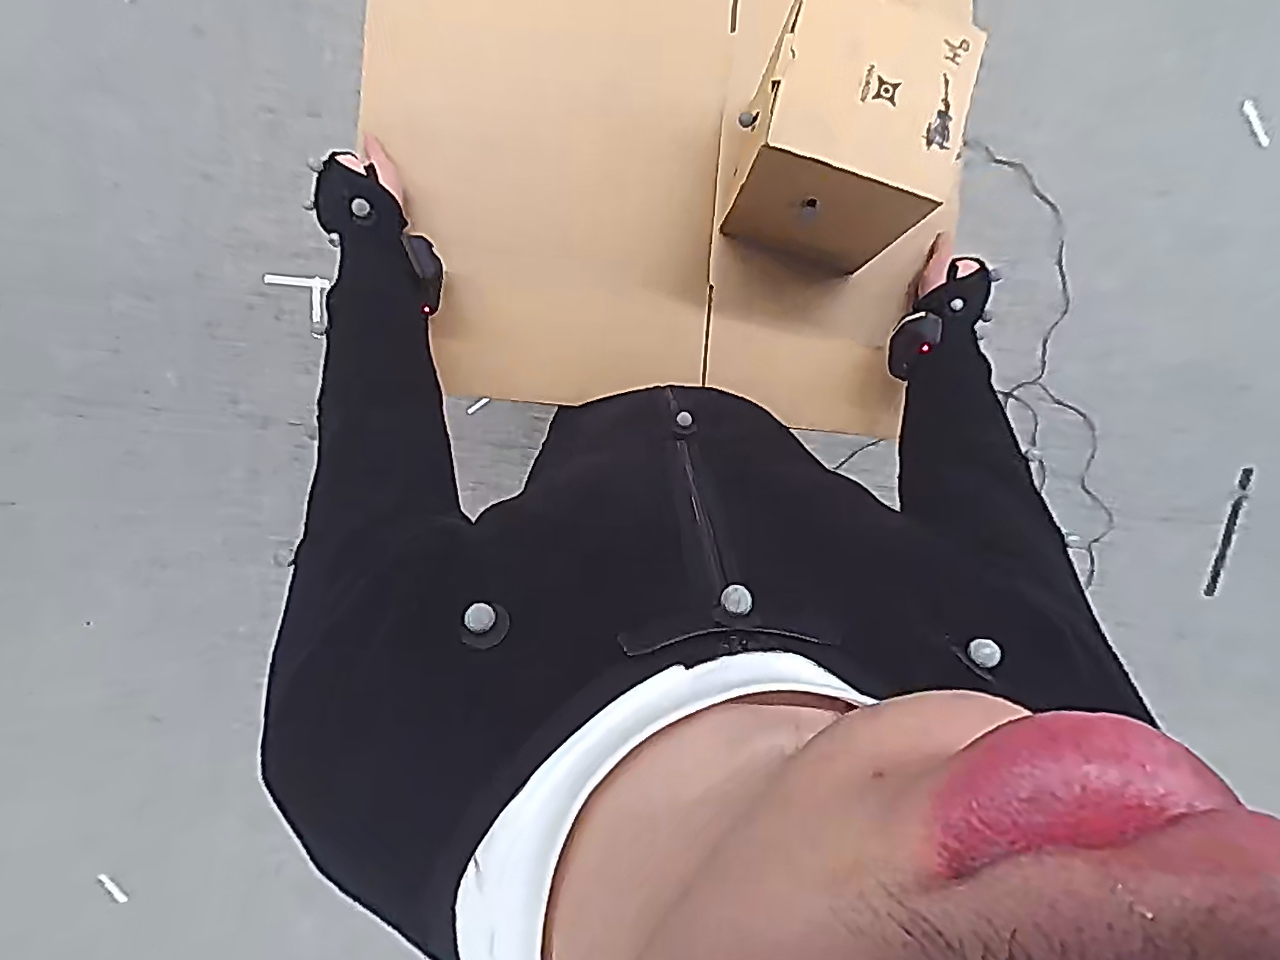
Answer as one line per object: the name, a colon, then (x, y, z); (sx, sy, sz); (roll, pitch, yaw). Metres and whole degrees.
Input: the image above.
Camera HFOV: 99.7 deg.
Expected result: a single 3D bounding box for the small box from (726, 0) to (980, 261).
small box: (0.204, -0.356, 0.569); (0.179, 0.176, 0.168); (15, 89, -4)
